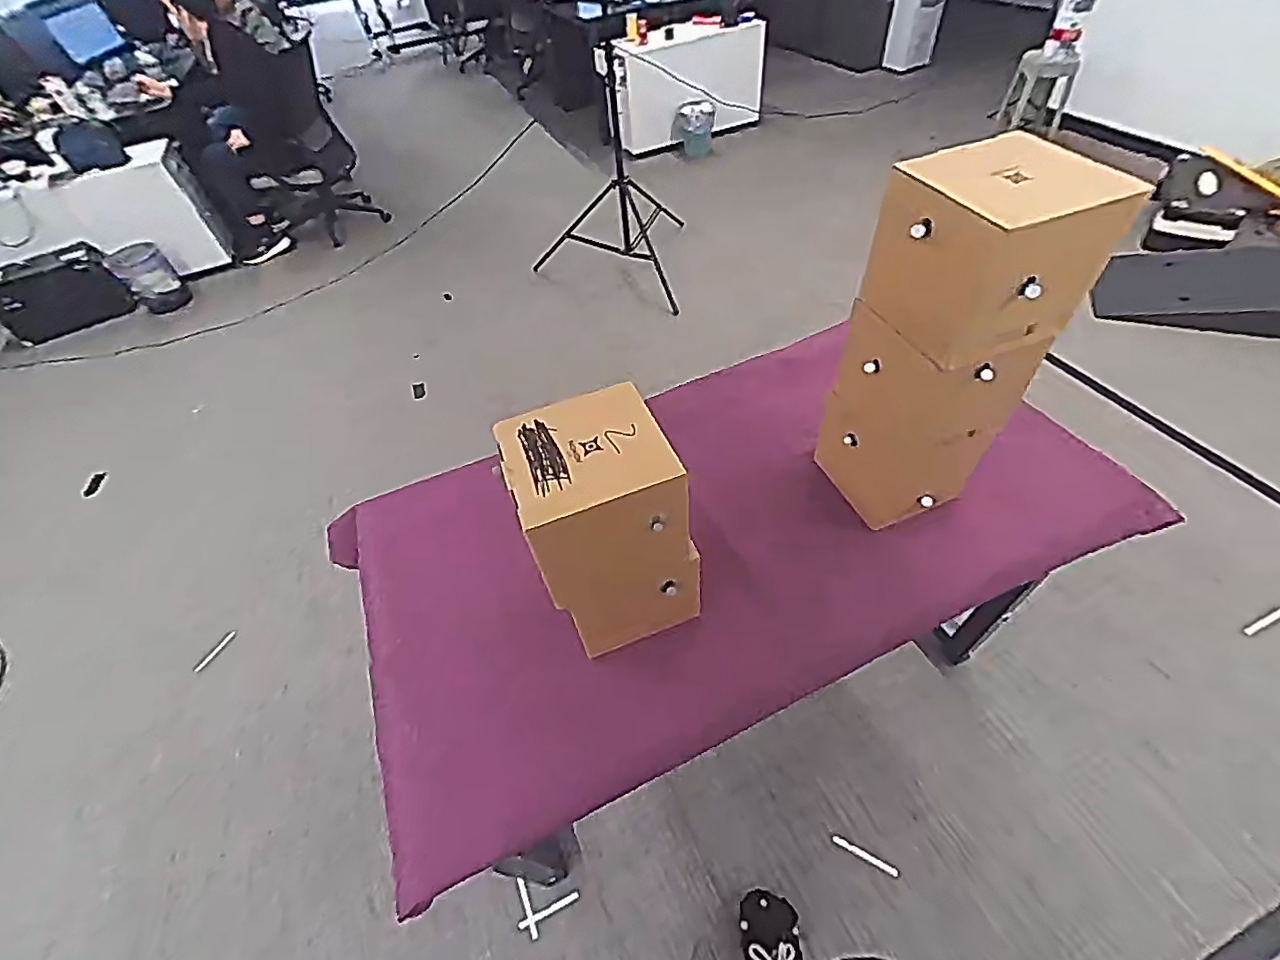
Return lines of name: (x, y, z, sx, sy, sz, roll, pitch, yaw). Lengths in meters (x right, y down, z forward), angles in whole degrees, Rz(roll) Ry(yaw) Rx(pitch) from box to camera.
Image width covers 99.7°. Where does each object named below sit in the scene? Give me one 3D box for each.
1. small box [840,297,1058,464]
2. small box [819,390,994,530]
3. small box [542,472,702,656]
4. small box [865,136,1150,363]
small box: (0.399, -0.152, 0.740, 0.168, 0.176, 0.179, -18, 50, -8)
small box: (0.412, -0.051, 0.868, 0.168, 0.176, 0.179, -20, 51, -9)
small box: (-0.023, 0.123, 0.774, 0.179, 0.176, 0.168, -19, 50, -9)
small box: (0.387, -0.252, 0.611, 0.168, 0.176, 0.179, -18, 50, -8)
